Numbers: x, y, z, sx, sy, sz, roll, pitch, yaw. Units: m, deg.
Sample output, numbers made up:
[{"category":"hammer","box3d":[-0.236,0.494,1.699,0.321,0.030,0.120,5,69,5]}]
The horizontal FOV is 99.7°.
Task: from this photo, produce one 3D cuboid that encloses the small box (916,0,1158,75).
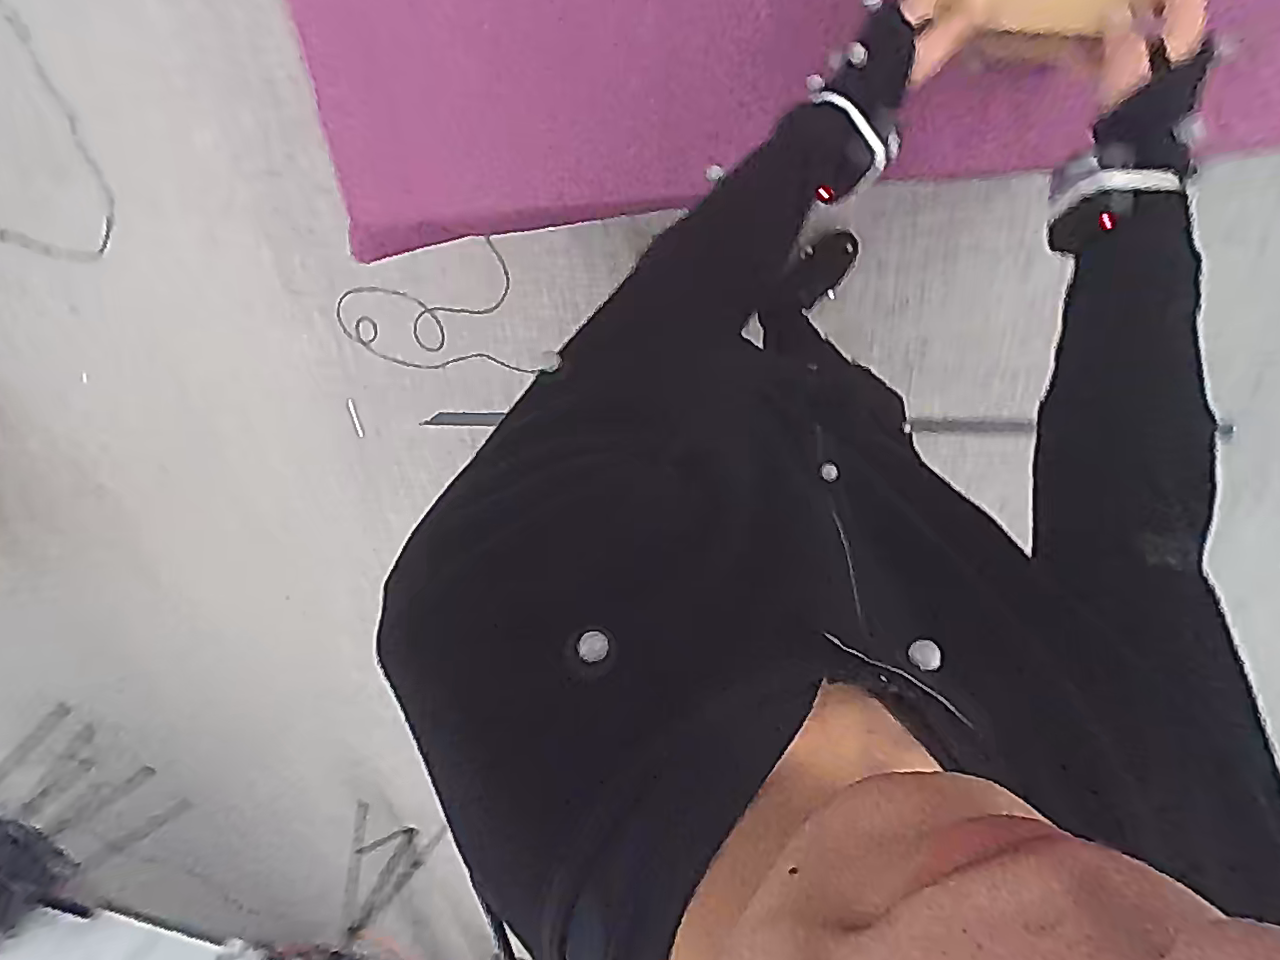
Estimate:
[{"category":"small box","box3d":[0.363,-0.485,0.477,0.168,0.176,0.179,15,123,12]}]
